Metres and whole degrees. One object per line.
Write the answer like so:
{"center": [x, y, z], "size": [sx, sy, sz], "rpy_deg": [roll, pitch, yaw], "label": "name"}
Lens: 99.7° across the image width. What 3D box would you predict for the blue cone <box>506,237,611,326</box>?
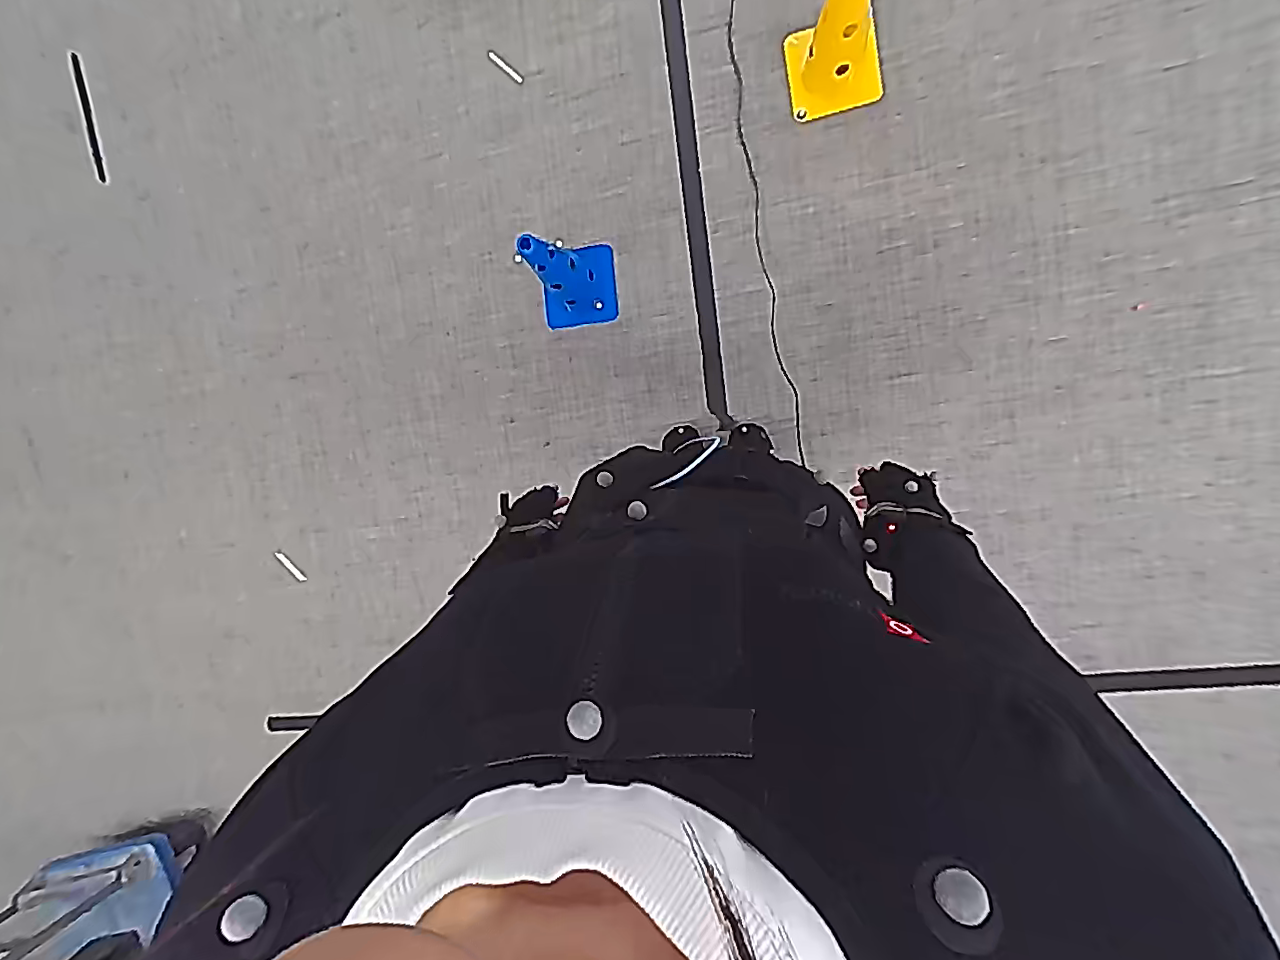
{"center": [-0.206, -0.498, 1.275], "size": [0.192, 0.380, 0.193], "rpy_deg": [-3, 95, 13], "label": "blue cone"}
